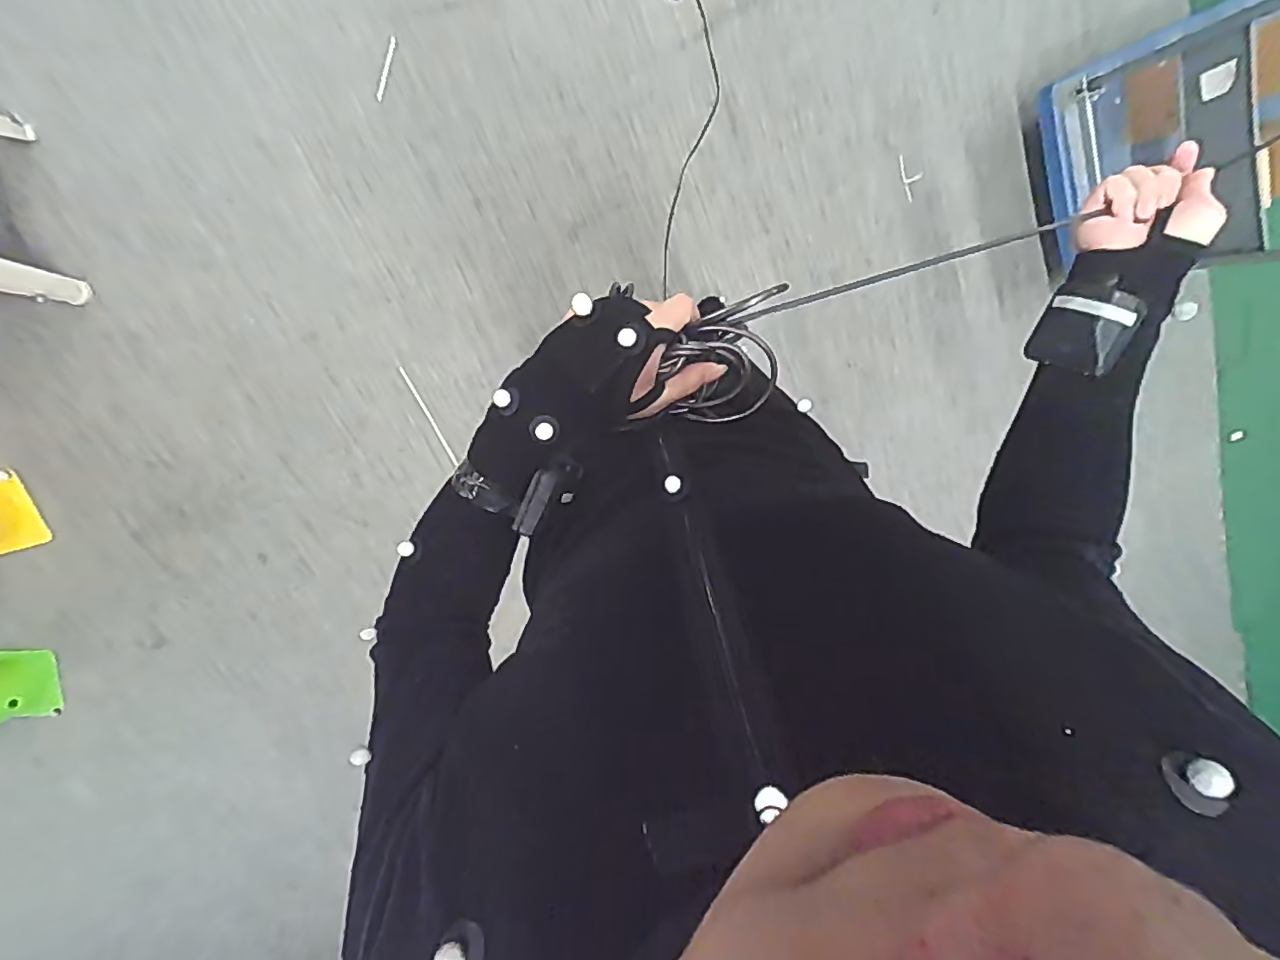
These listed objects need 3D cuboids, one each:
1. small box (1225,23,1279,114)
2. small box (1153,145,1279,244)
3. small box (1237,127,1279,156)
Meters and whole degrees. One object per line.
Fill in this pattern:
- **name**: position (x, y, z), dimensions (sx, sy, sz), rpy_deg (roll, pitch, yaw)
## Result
- **small box**: position (1.657, -1.079, 1.378), dimensions (0.179, 0.176, 0.168), rpy_deg (-29, 107, -1)
- **small box**: position (1.532, -0.751, 1.439), dimensions (0.179, 0.176, 0.168), rpy_deg (-25, 107, -2)
- **small box**: position (1.775, -0.869, 1.450), dimensions (0.179, 0.176, 0.168), rpy_deg (-29, 106, -1)
